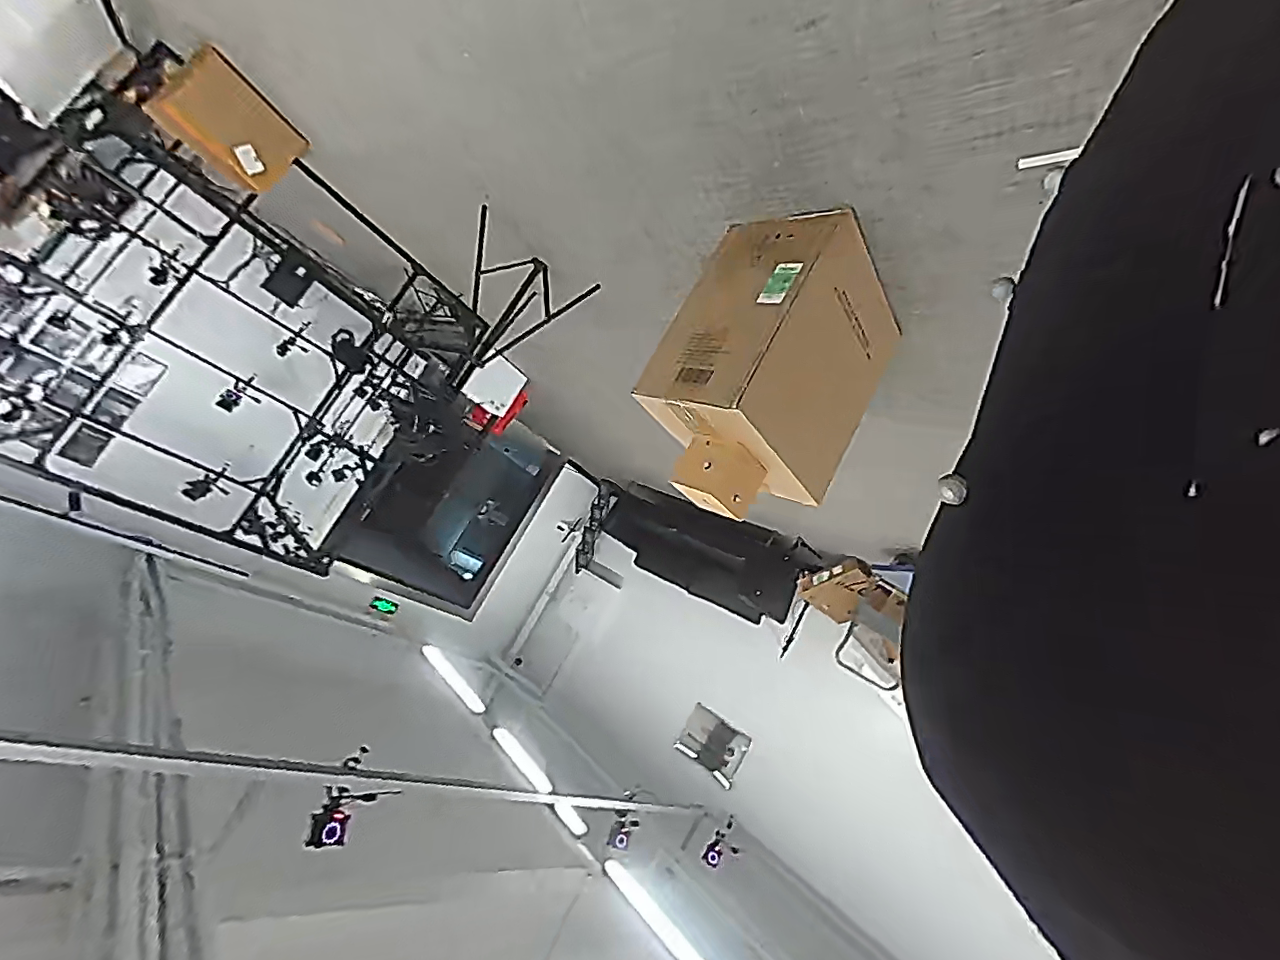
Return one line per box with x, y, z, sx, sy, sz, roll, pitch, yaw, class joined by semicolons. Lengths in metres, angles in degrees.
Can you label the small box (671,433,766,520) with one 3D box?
0.225;-0.014;1.524;0.168;0.176;0.179;18;166;47;small box
